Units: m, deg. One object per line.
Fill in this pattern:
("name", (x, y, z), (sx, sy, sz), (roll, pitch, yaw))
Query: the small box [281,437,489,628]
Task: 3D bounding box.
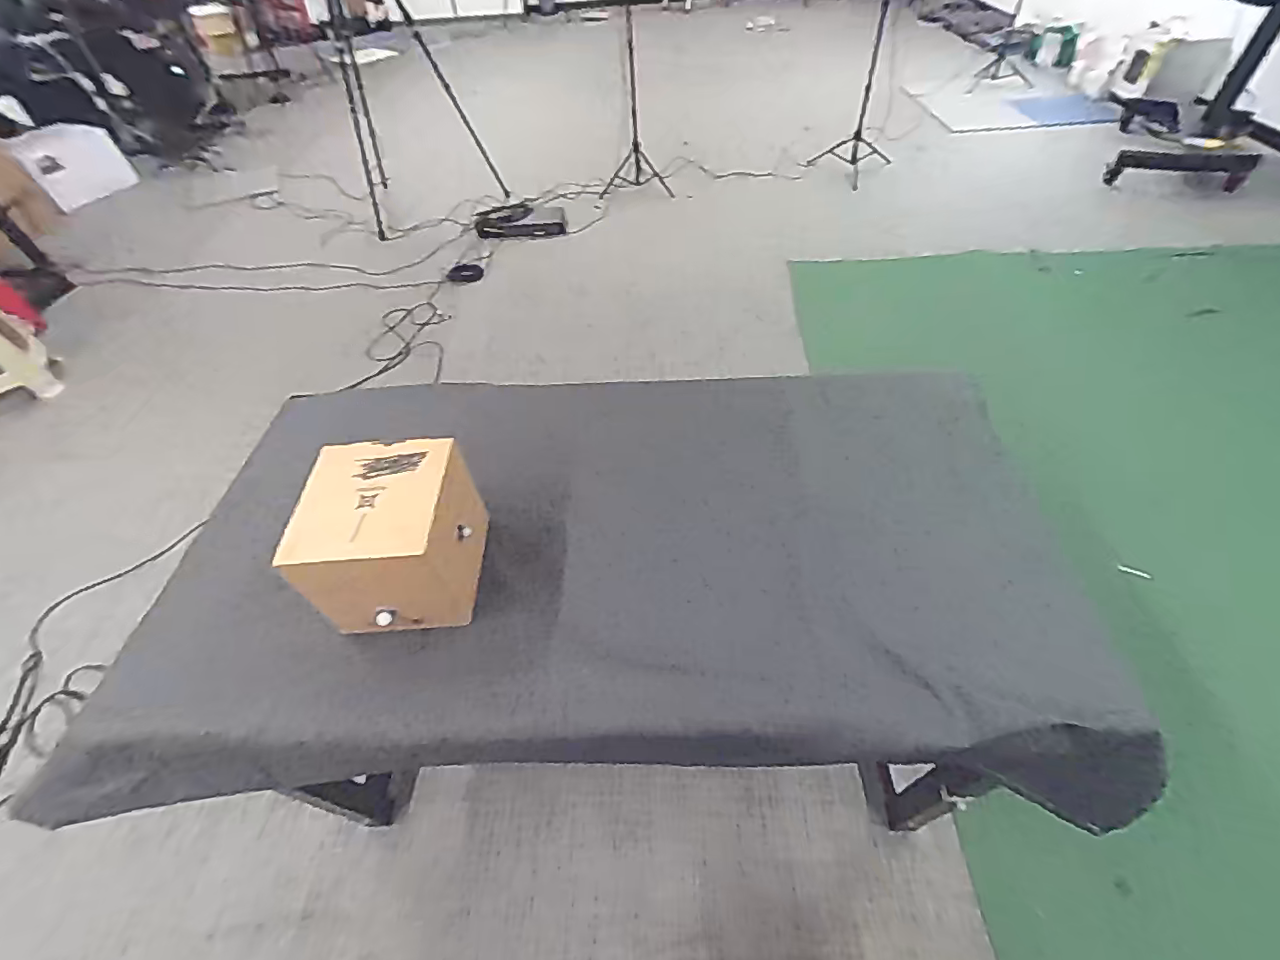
("small box", (-0.299, 0.068, 0.685), (0.168, 0.176, 0.179), (-4, 49, 1))
